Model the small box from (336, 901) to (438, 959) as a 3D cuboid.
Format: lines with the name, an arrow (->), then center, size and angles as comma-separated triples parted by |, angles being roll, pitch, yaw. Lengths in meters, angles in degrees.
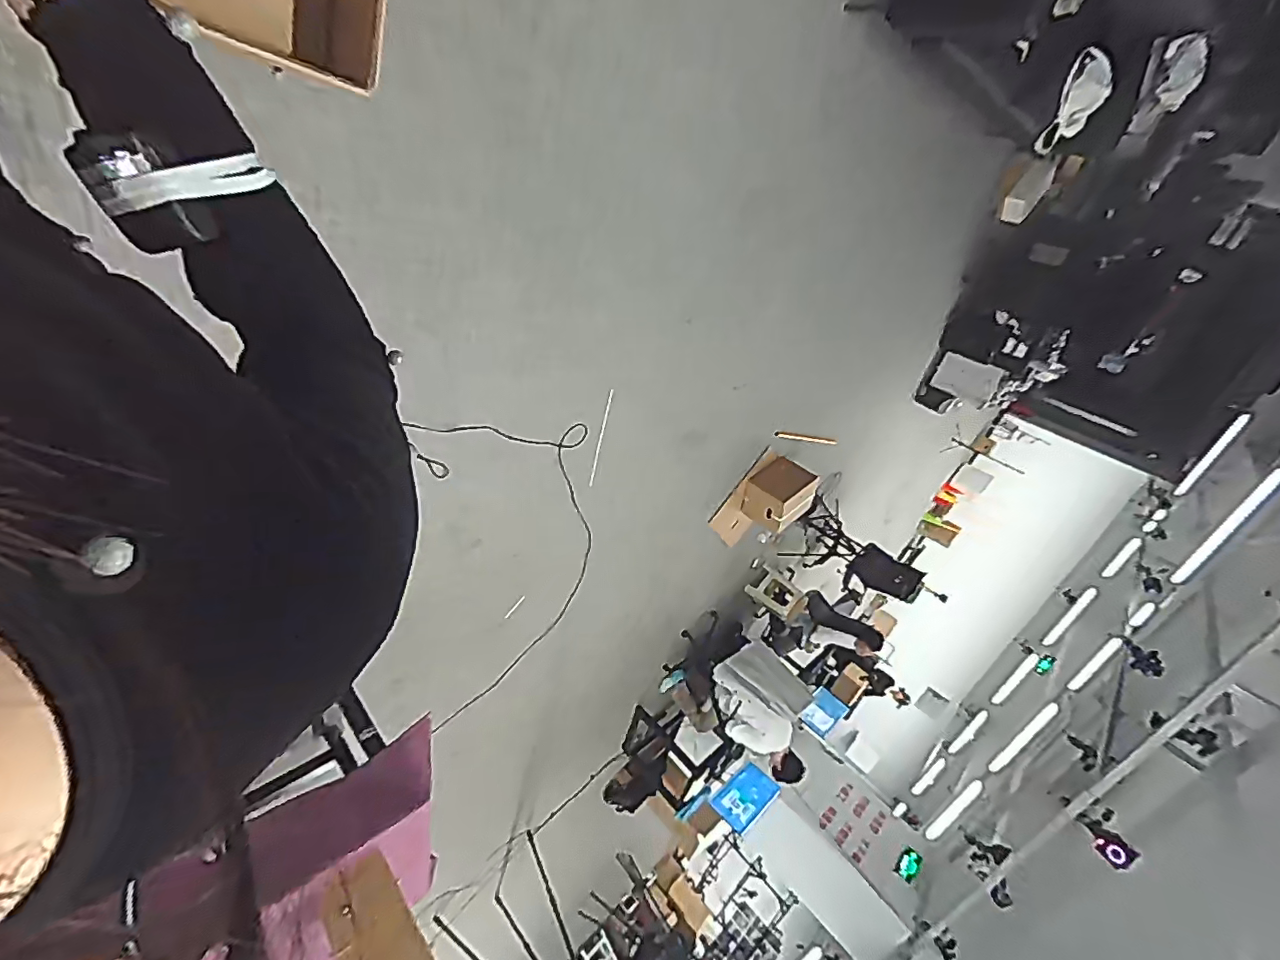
small box -> -0.610, 1.188, 1.317 | 0.179, 0.176, 0.168 | -21, 136, -39

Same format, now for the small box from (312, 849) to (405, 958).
small box -> -0.725, 1.105, 1.398 | 0.168, 0.176, 0.179 | -20, 136, -41
